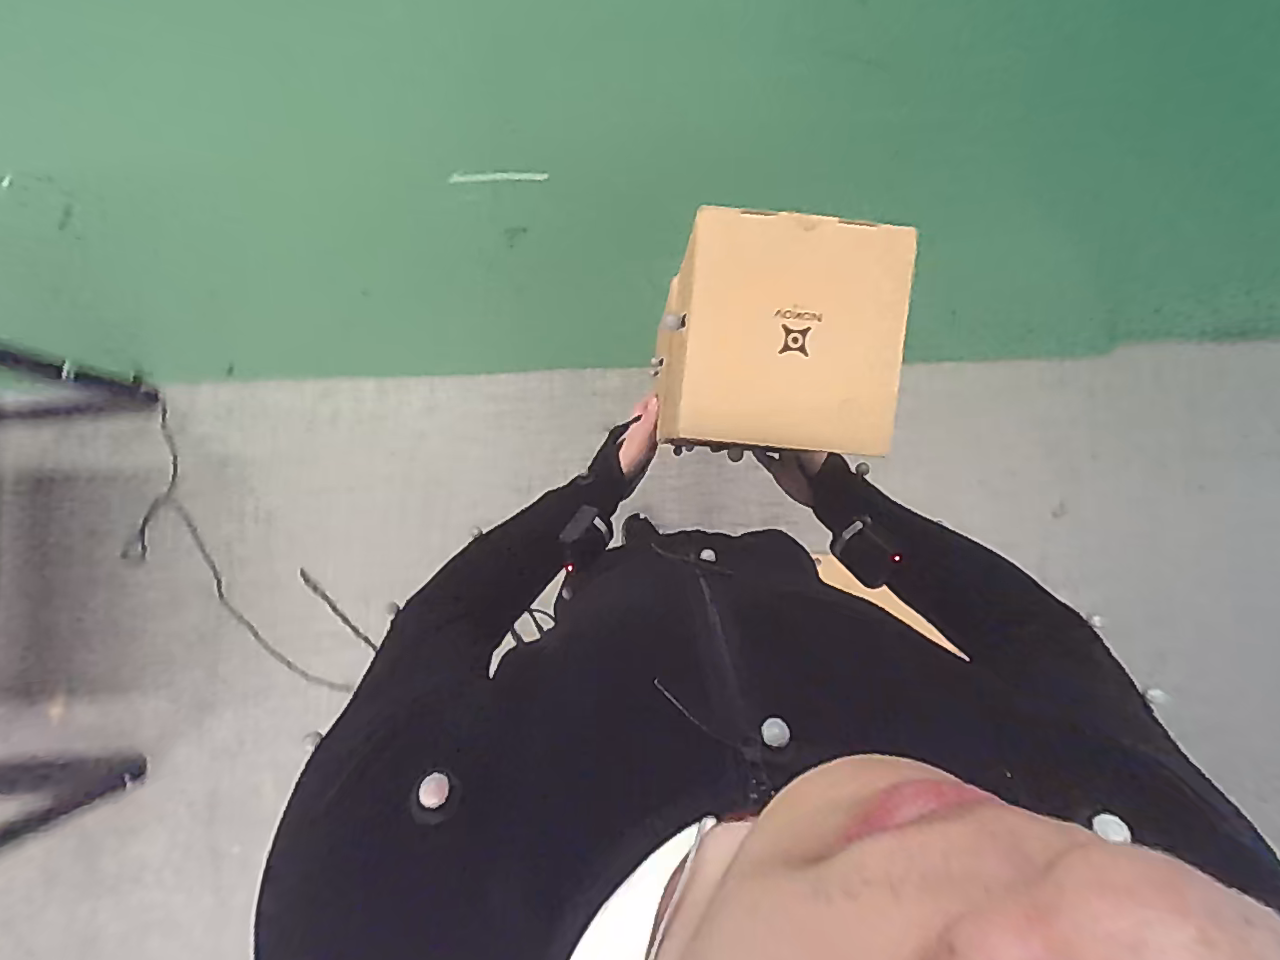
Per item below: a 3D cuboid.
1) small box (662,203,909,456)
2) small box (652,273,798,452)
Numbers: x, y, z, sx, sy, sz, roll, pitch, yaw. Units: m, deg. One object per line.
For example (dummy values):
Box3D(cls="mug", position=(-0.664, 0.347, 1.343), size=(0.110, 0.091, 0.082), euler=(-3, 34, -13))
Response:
Box3D(cls="small box", position=(0.109, -0.117, 0.482), size=(0.168, 0.176, 0.179), euler=(4, 94, -1))
Box3D(cls="small box", position=(0.102, -0.127, 0.642), size=(0.168, 0.176, 0.179), euler=(4, 93, -1))
